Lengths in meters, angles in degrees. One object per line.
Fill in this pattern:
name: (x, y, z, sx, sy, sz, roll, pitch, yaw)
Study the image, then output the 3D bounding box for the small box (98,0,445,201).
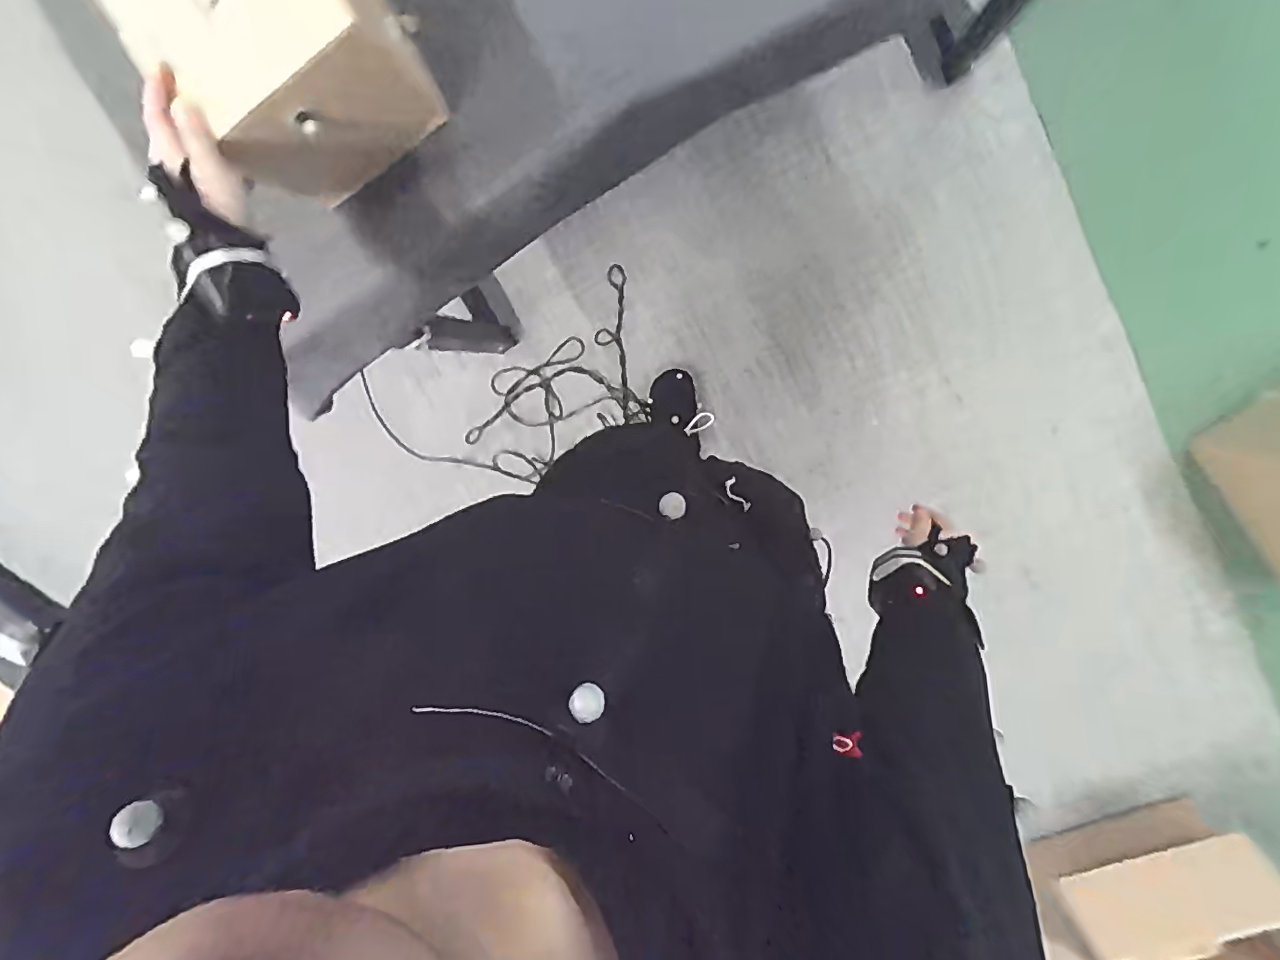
small box: (-0.318, -0.391, 0.492, 0.179, 0.176, 0.168, -29, 98, 11)
